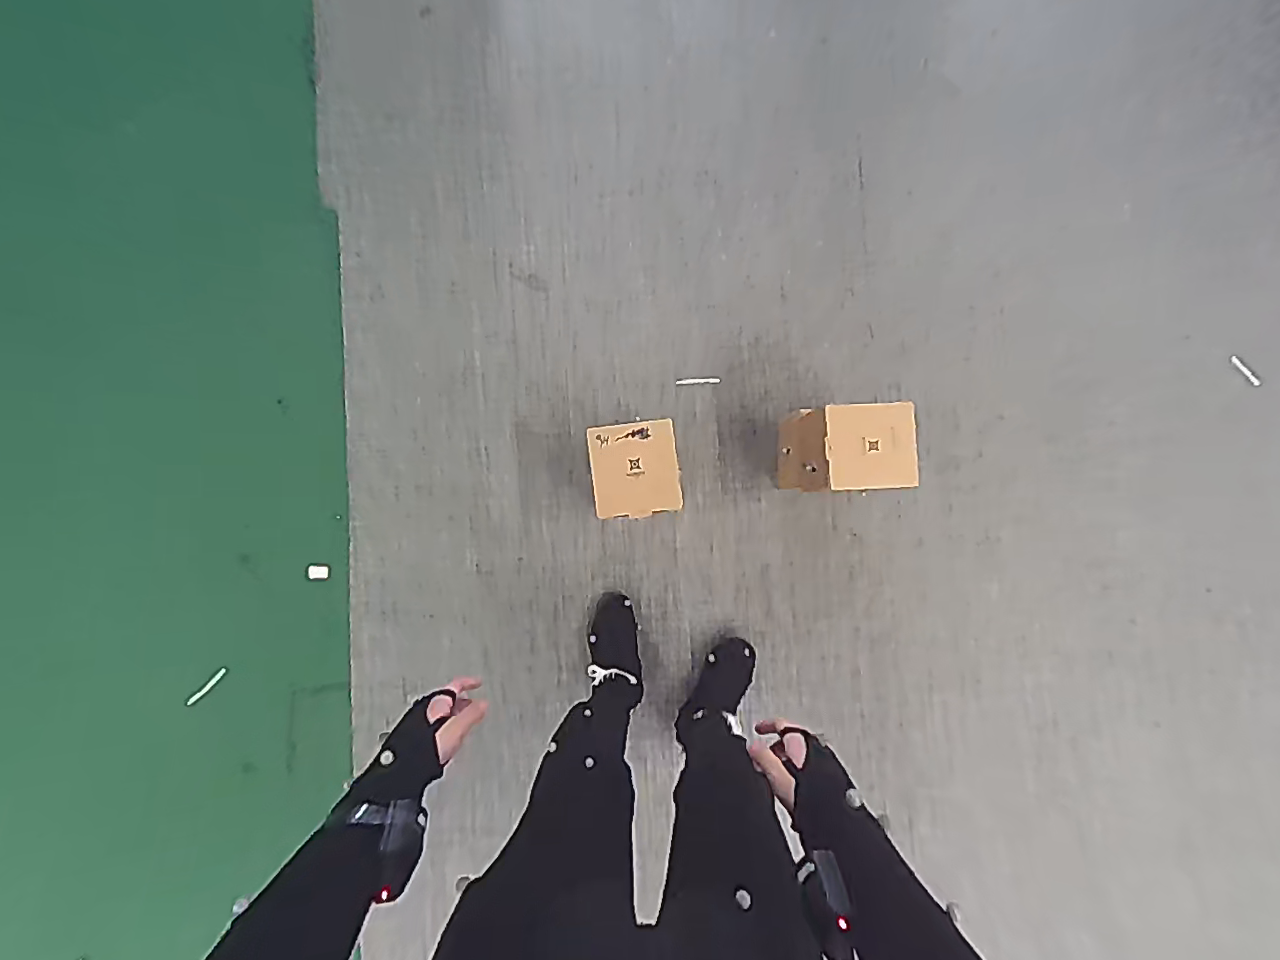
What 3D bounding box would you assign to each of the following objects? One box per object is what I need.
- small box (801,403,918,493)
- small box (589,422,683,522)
[{"bbox_3d":[0.440,-0.060,1.114,0.179,0.176,0.168,-2,87,-2],"label":"small box"},{"bbox_3d":[-0.009,-0.014,1.101,0.168,0.176,0.179,-7,88,-2],"label":"small box"}]
